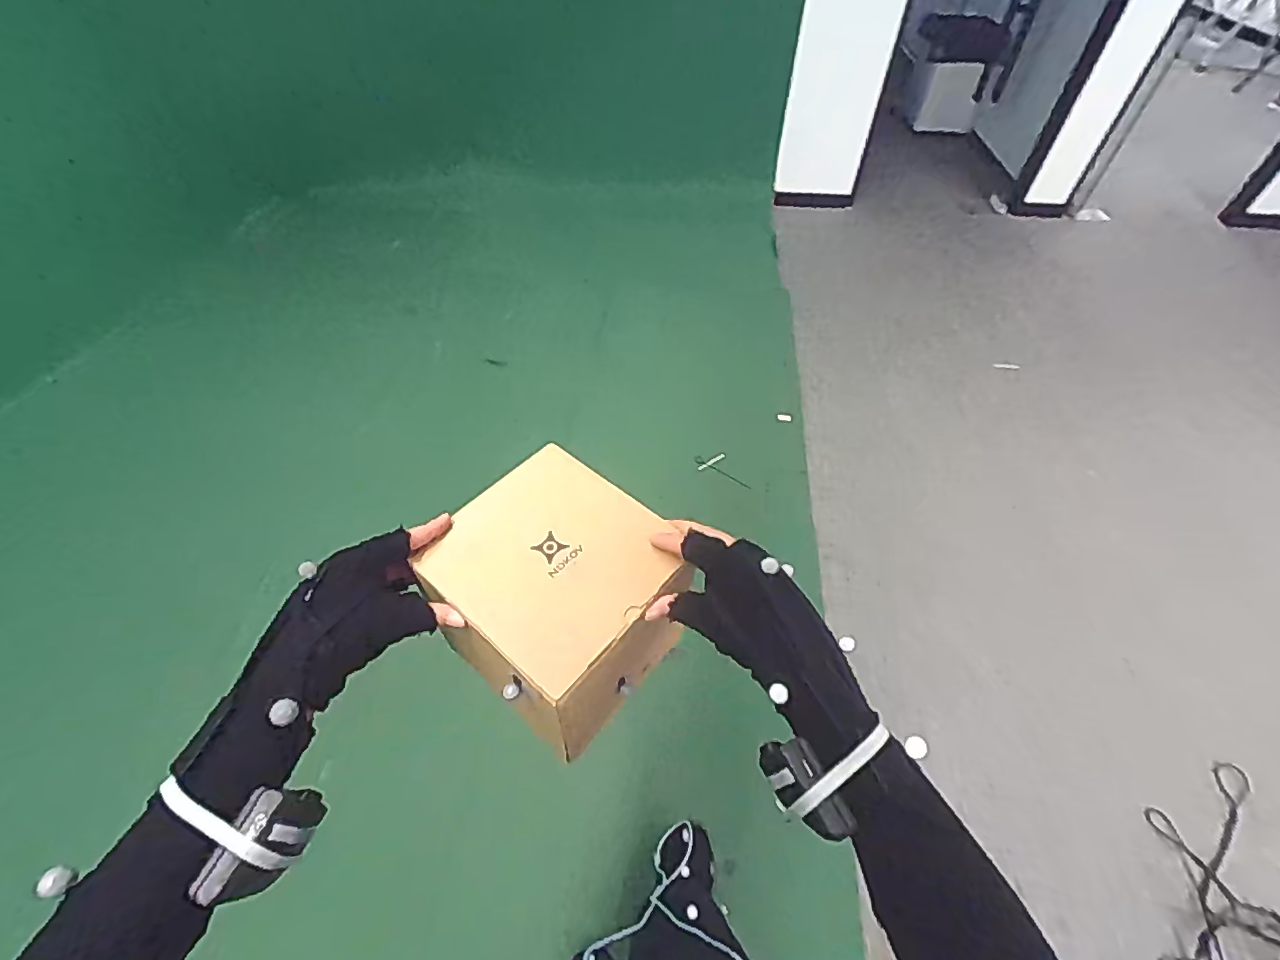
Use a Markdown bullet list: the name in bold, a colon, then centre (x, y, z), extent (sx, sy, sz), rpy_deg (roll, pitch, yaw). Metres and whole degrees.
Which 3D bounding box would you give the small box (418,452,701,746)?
- **small box**: centre (-0.071, 0.112, 0.504), extent (0.179, 0.176, 0.168), rpy_deg (36, 56, 22)
